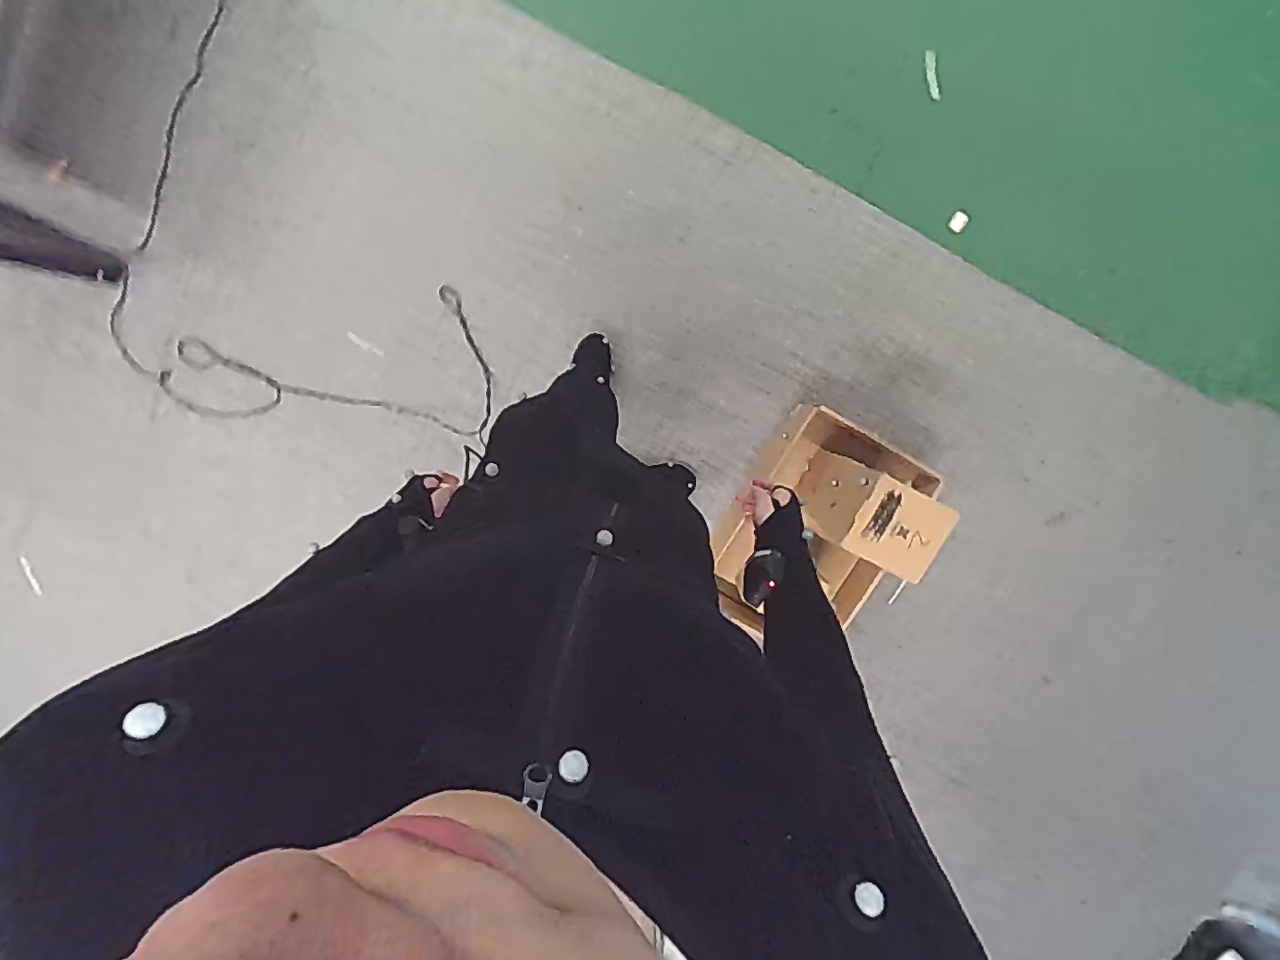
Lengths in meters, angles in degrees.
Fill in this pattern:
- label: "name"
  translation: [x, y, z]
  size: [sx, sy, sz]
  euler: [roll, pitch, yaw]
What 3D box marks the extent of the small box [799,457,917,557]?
- label: "small box"
  translation: [0.515, 0.055, 1.303]
  size: [0.179, 0.176, 0.168]
  euler: [28, 99, -2]
